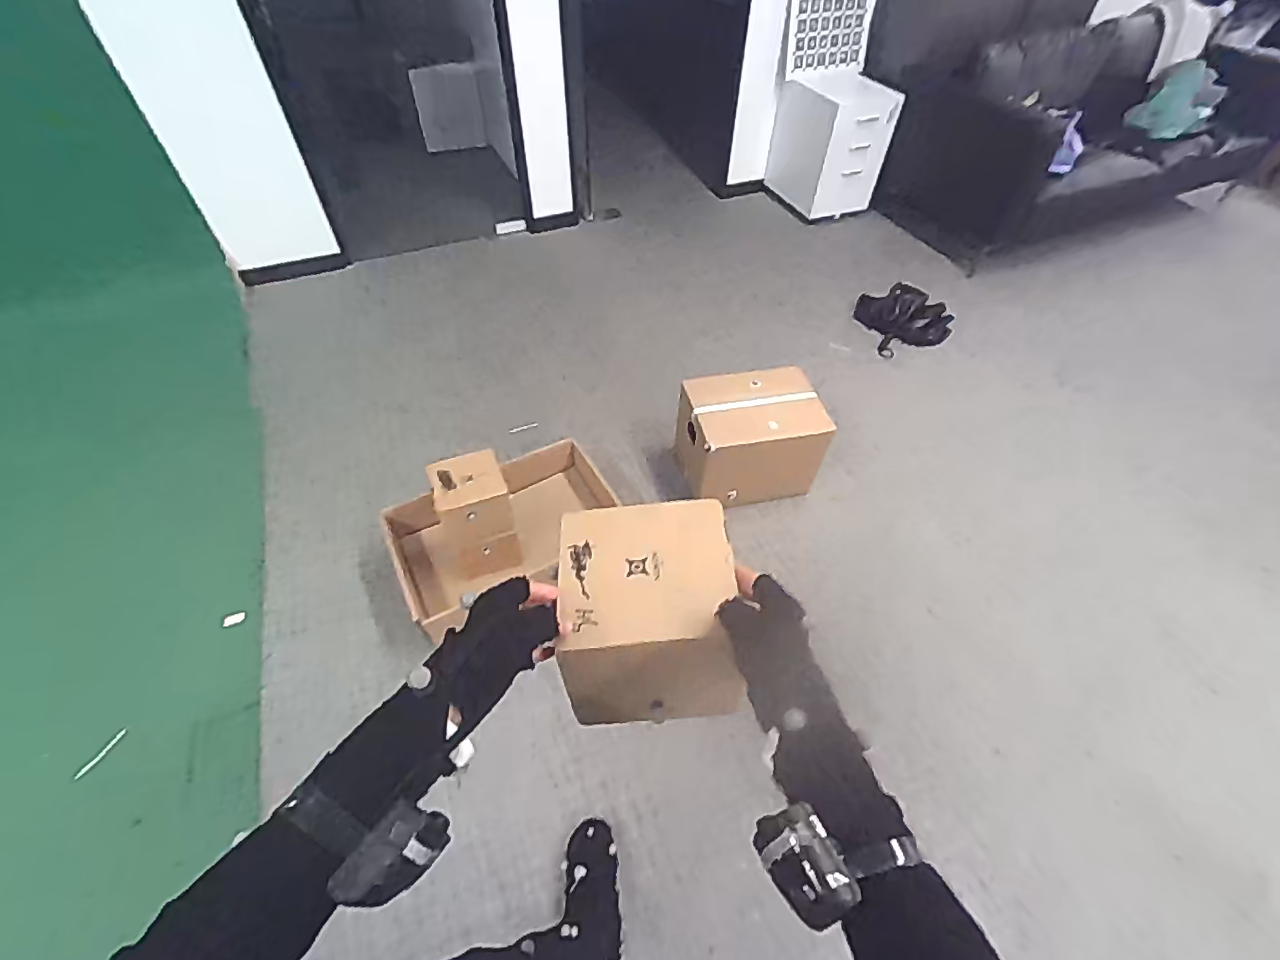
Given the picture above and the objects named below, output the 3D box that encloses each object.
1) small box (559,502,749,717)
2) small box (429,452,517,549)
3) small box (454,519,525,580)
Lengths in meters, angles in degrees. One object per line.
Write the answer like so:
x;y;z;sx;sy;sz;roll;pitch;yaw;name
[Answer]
0.013;0.145;0.601;0.179;0.176;0.168;-5;44;0;small box
-0.439;0.057;1.435;0.179;0.176;0.168;-17;53;-18;small box
-0.443;0.164;1.561;0.179;0.176;0.168;-16;53;-18;small box
